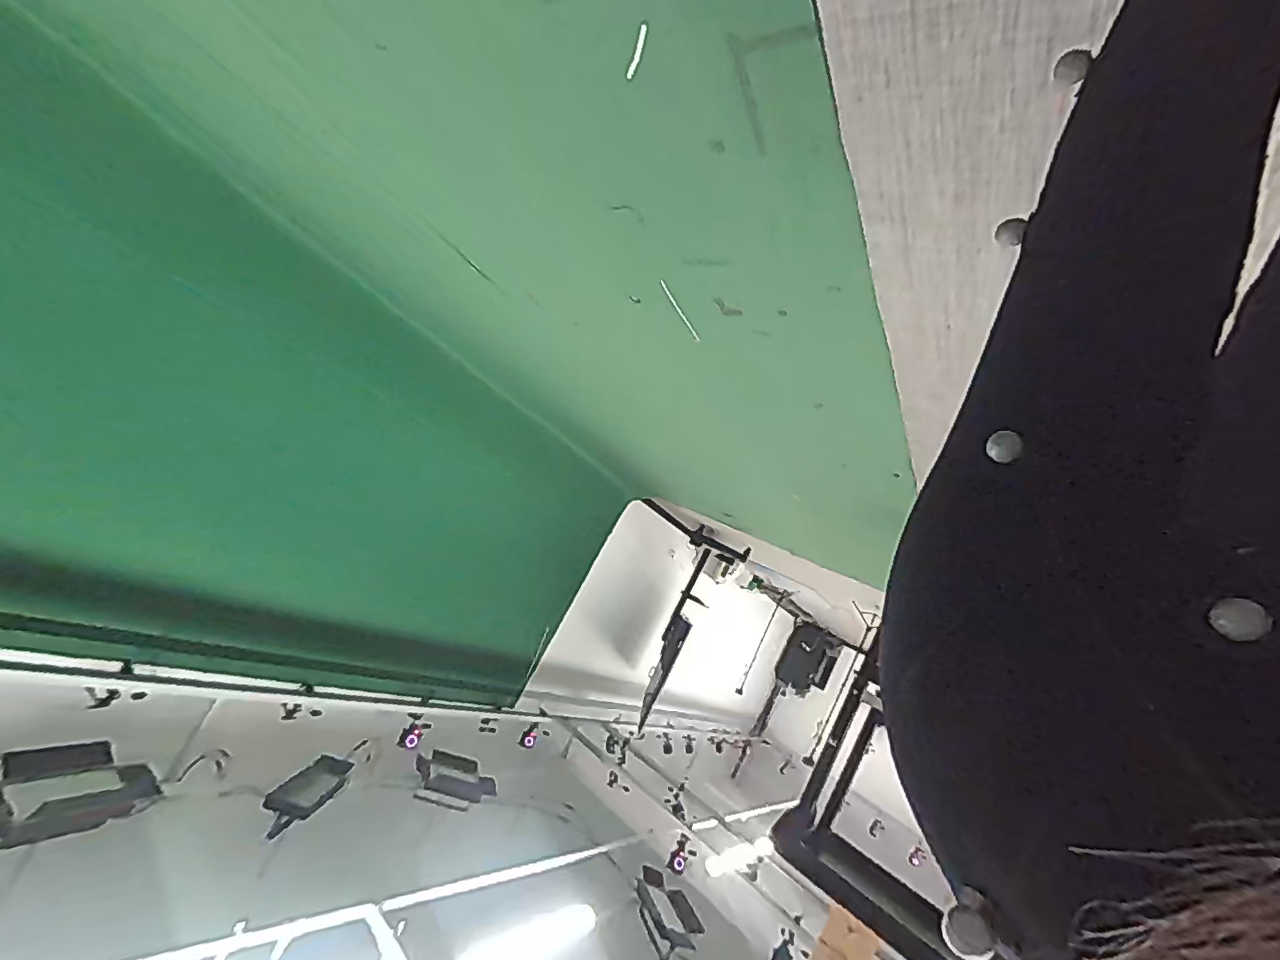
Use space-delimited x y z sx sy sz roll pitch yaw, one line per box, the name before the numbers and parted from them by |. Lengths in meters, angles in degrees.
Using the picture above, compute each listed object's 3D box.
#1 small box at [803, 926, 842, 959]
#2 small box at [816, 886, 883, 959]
small box | 0.681 1.768 1.951 0.168 0.176 0.179 21 167 34
small box | 0.767 1.630 1.972 0.168 0.176 0.179 22 168 37
